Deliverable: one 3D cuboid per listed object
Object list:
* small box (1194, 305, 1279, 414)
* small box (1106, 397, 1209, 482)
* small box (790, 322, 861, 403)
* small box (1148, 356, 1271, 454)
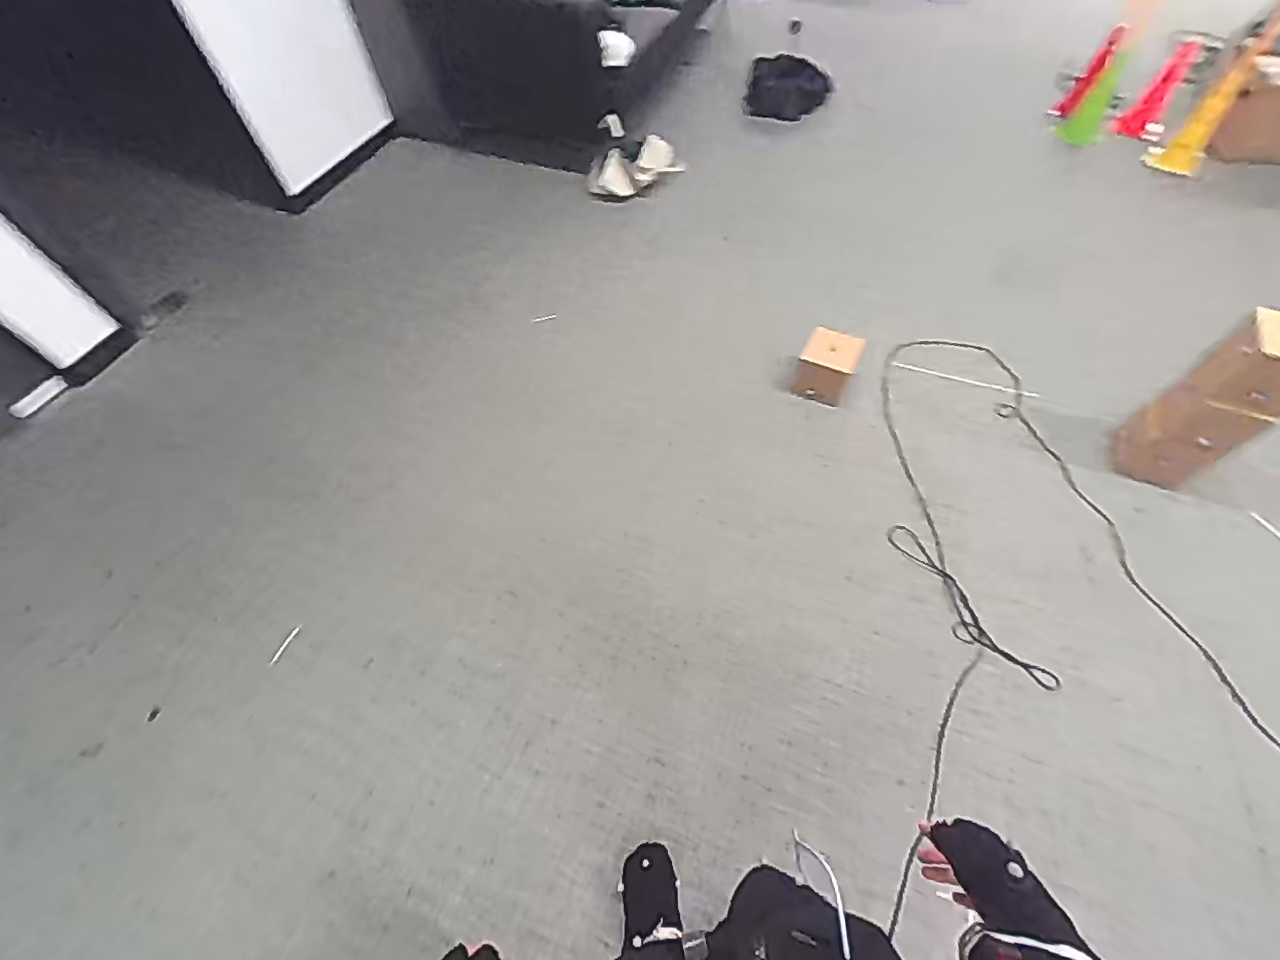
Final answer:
[{"bbox_3d":[1.541,-0.297,1.347,0.168,0.176,0.179,20,61,14],"label":"small box"},{"bbox_3d":[1.544,-0.117,1.620,0.179,0.176,0.168,20,61,15],"label":"small box"},{"bbox_3d":[0.622,-0.397,1.834,0.168,0.176,0.179,23,61,17],"label":"small box"},{"bbox_3d":[1.544,-0.203,1.480,0.168,0.176,0.179,21,61,15],"label":"small box"}]
